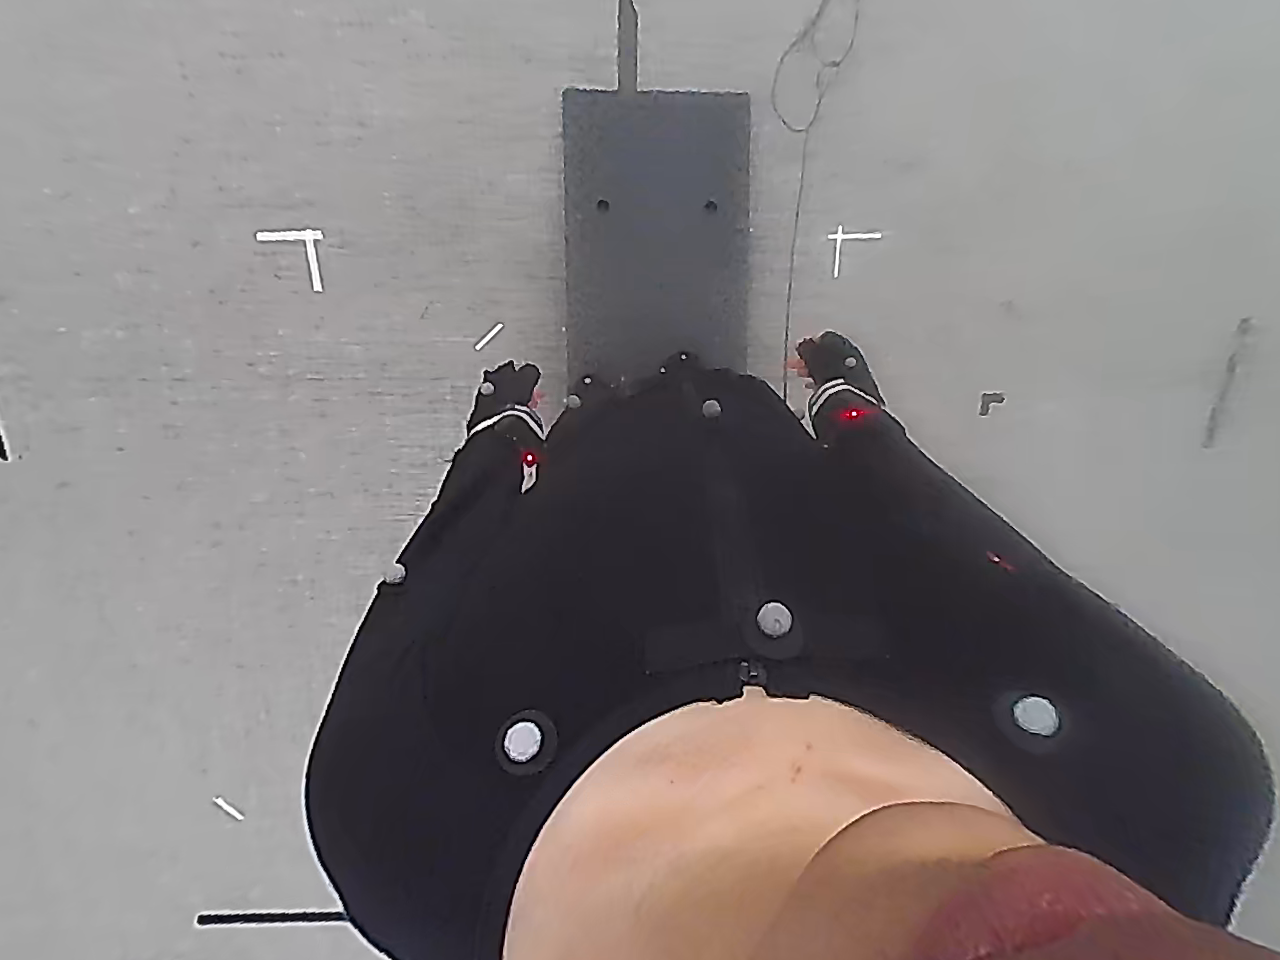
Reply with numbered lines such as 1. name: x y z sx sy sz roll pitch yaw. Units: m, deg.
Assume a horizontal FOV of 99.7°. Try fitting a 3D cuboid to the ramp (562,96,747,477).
1. ramp: 0.041 -0.507 1.454 0.509 0.206 0.991 -2 105 0
